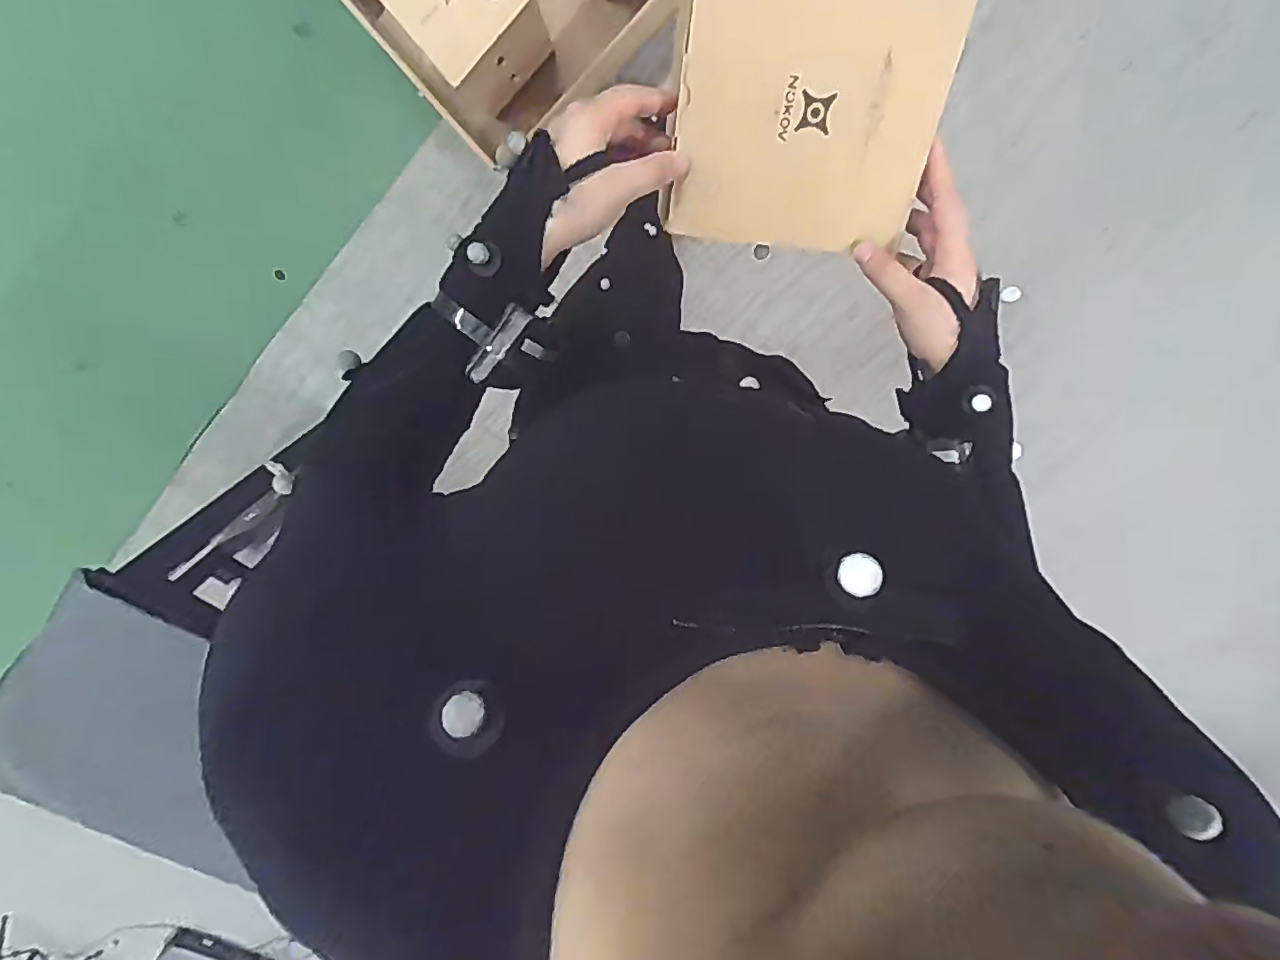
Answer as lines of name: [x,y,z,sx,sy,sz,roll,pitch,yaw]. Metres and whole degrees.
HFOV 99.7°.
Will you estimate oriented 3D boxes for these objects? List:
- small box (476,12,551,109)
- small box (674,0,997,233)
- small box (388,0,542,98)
small box: [-0.276,-0.811,0.973,0.179,0.176,0.168,-40,113,15]
small box: [0.123,-0.294,0.412,0.179,0.176,0.168,4,121,-3]
small box: [-0.265,-0.734,0.827,0.179,0.176,0.168,-38,113,16]
